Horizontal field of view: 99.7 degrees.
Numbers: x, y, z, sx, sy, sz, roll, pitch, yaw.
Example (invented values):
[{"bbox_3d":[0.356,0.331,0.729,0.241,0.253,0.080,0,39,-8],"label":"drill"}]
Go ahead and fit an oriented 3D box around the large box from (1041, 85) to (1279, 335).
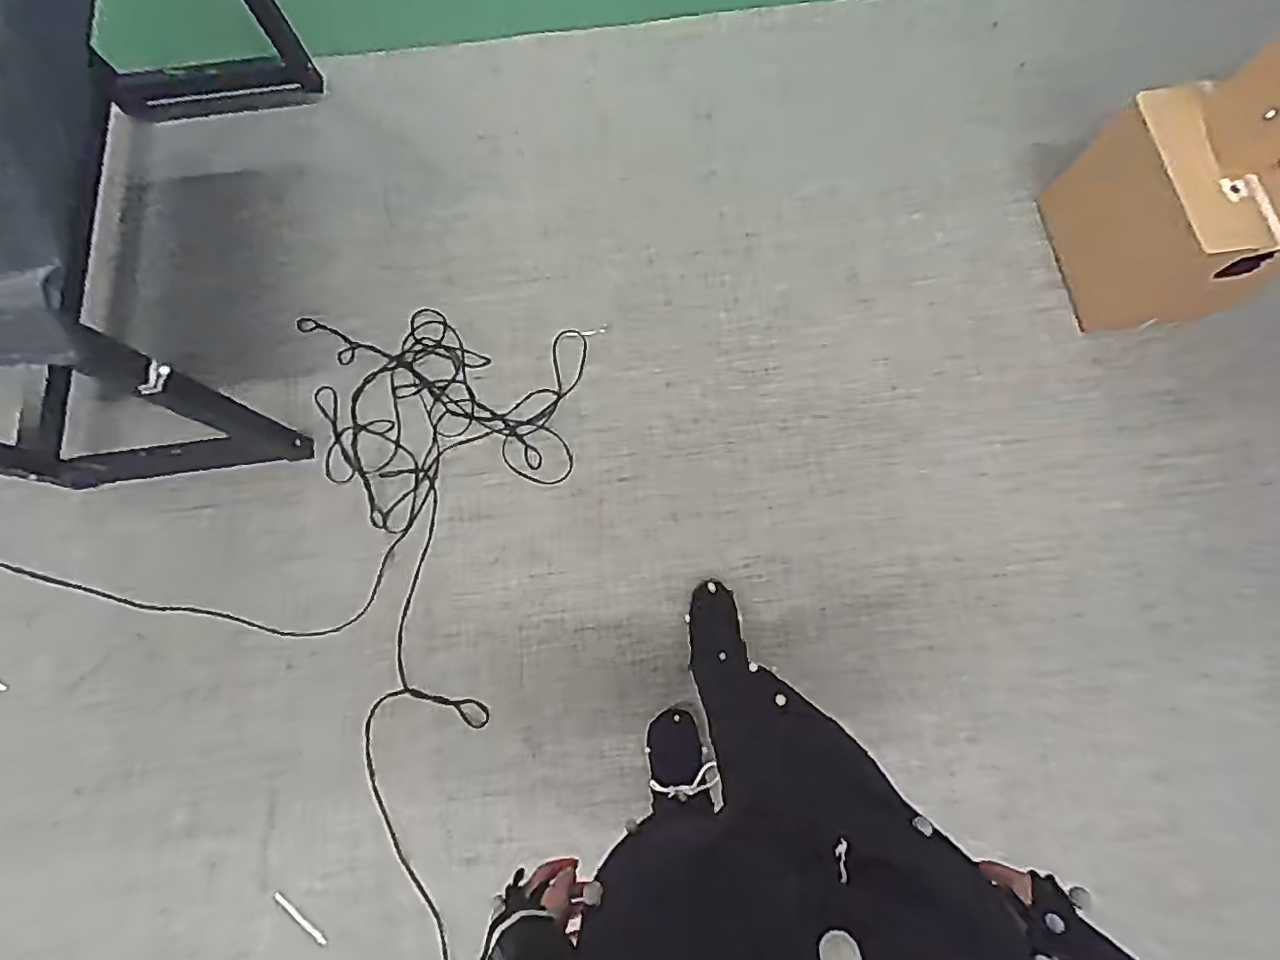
[{"bbox_3d":[1.237,-0.603,1.255,0.320,0.320,0.408,-8,77,0],"label":"large box"}]
